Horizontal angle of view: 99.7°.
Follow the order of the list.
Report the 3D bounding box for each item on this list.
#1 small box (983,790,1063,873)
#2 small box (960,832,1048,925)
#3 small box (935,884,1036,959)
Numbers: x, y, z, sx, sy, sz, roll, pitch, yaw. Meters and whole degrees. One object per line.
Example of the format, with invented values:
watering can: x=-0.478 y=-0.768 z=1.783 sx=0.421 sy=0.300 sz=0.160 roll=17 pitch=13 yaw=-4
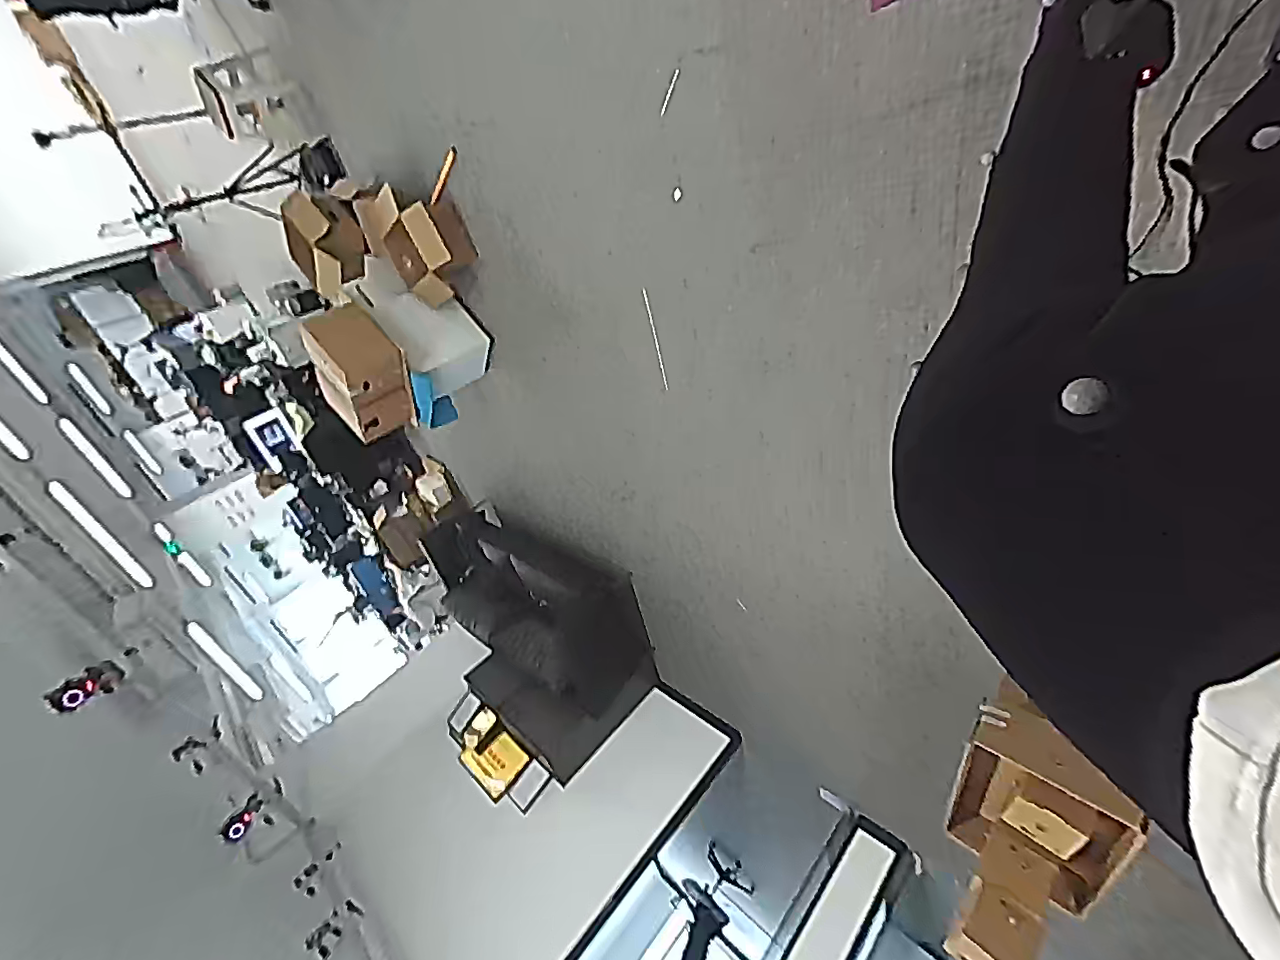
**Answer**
small box: x=1.180 y=1.117 z=1.678 sx=0.168 sy=0.176 sz=0.179 roll=21 pitch=134 yaw=40
small box: x=1.068 y=1.195 z=1.590 sx=0.168 sy=0.176 sz=0.179 roll=21 pitch=134 yaw=41
small box: x=0.959 y=1.280 z=1.501 sx=0.168 sy=0.176 sz=0.179 roll=29 pitch=139 yaw=34
